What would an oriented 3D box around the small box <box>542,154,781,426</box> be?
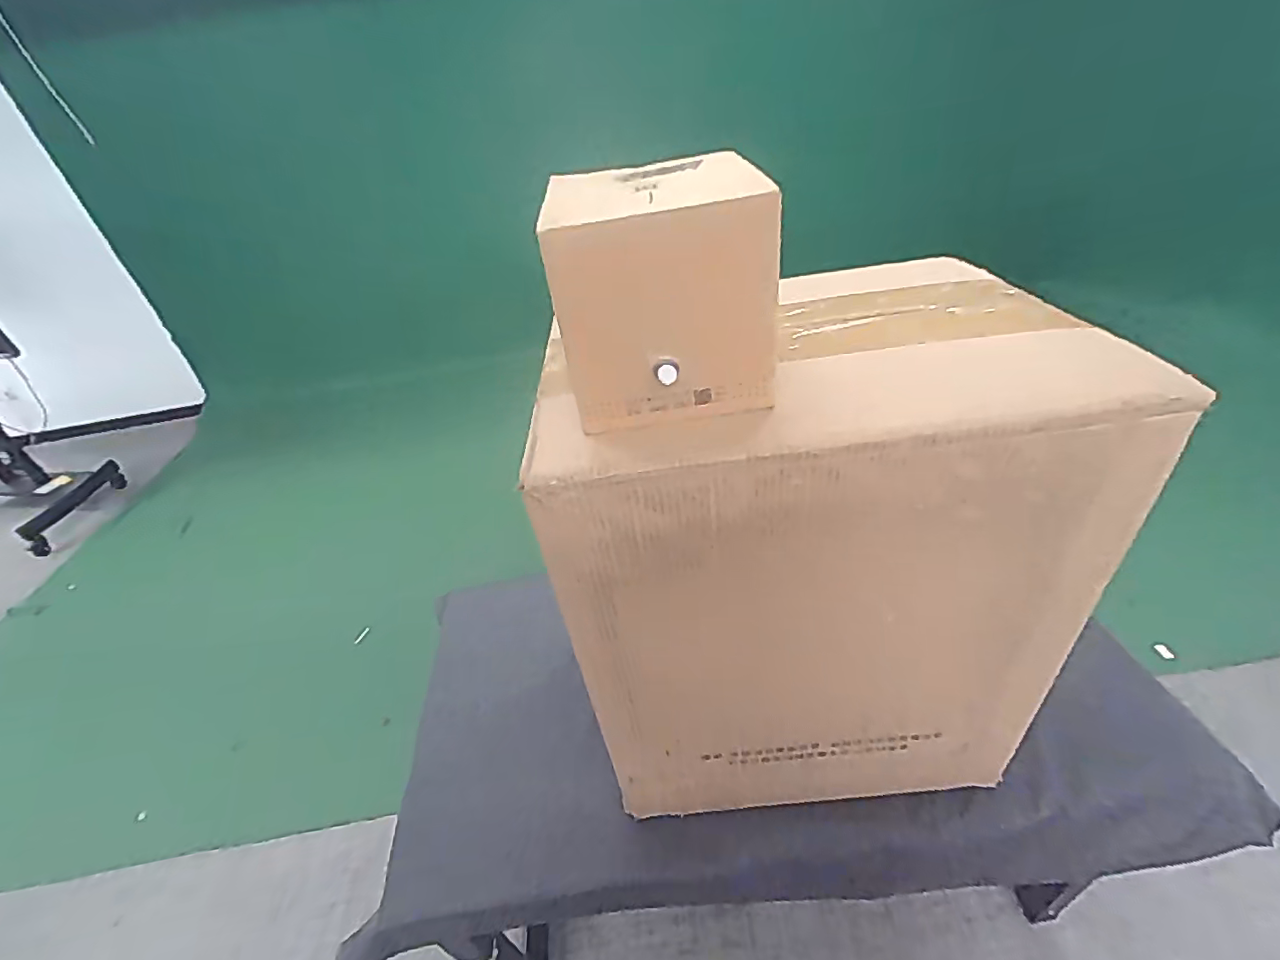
[{"bbox_3d":[0.020,-0.169,0.478,0.168,0.176,0.179,-8,39,3],"label":"small box"}]
